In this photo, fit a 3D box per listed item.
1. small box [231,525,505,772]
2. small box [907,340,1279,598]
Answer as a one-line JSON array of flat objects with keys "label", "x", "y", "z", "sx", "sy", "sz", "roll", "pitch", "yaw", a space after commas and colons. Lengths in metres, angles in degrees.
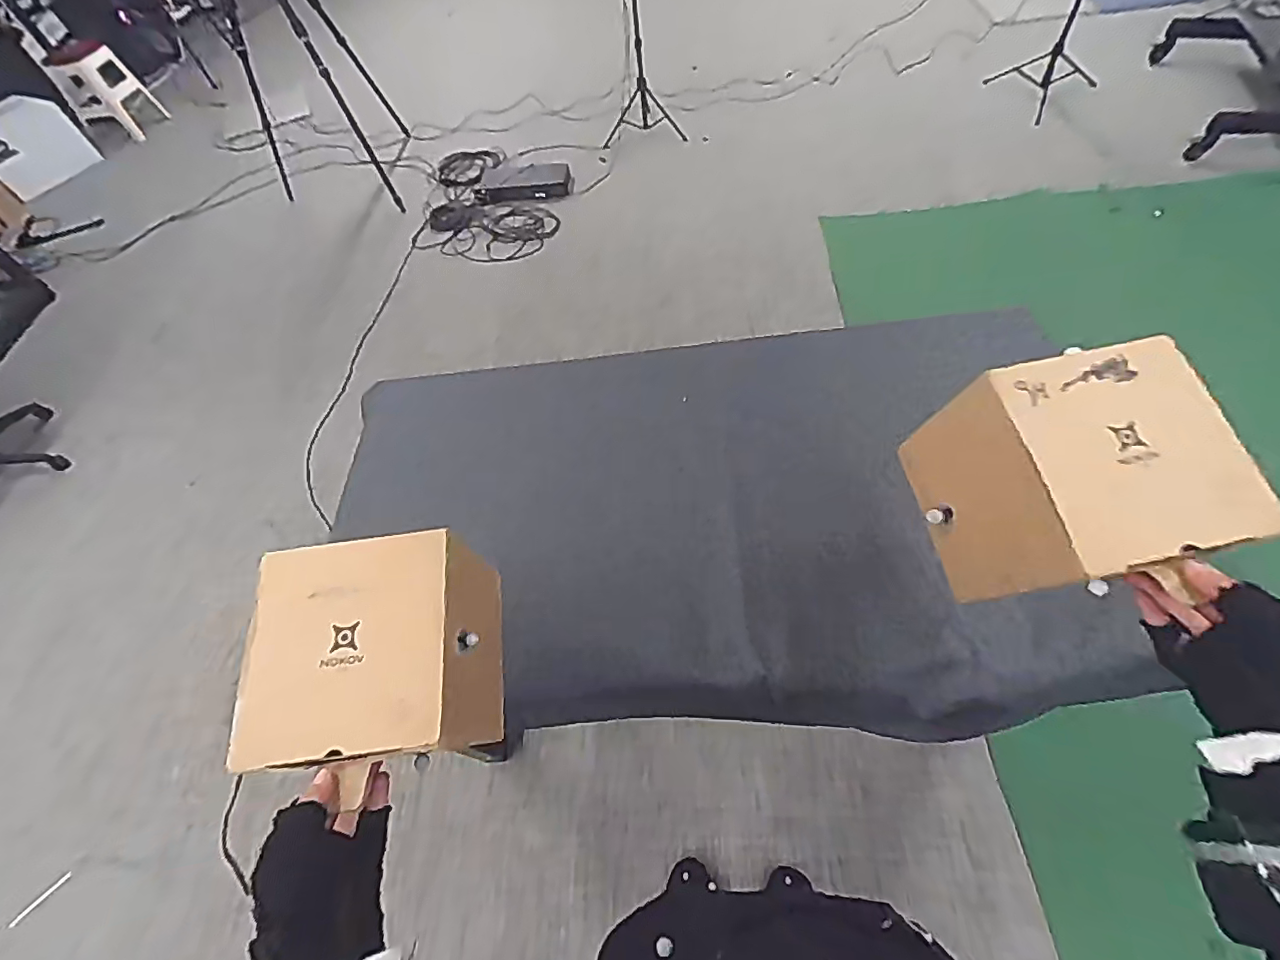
[{"label": "small box", "x": -0.230, "y": 0.160, "z": 0.508, "sx": 0.168, "sy": 0.176, "sz": 0.179, "roll": -8, "pitch": 65, "yaw": 0}, {"label": "small box", "x": 0.380, "y": 0.005, "z": 0.489, "sx": 0.168, "sy": 0.176, "sz": 0.179, "roll": -11, "pitch": 72, "yaw": -4}]
